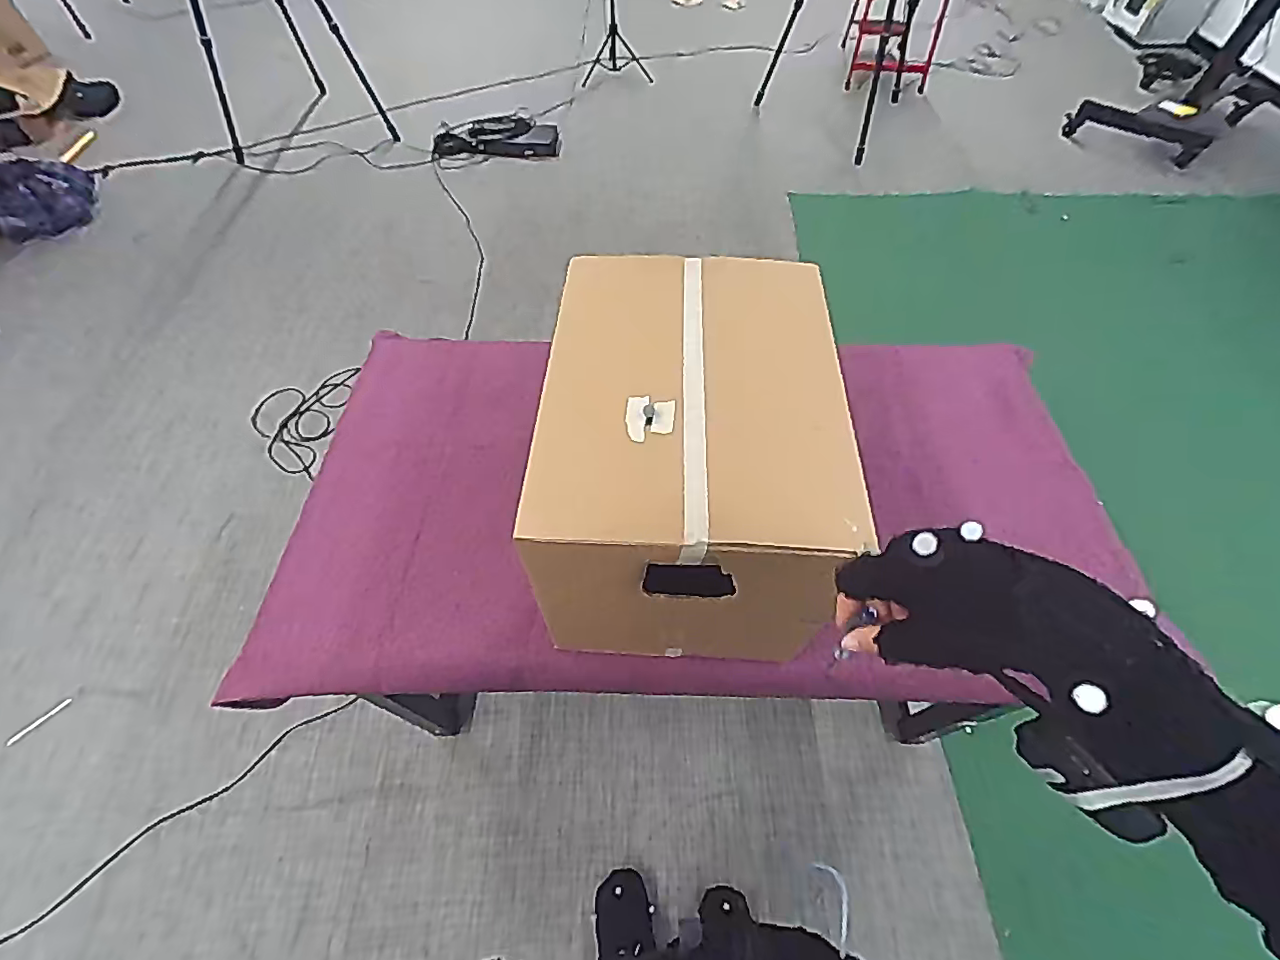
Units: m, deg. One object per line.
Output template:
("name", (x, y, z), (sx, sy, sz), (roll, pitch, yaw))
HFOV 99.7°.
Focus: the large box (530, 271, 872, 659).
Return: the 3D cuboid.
("large box", (0.058, -0.015, 0.710), (0.320, 0.320, 0.408), (3, 56, 2))
